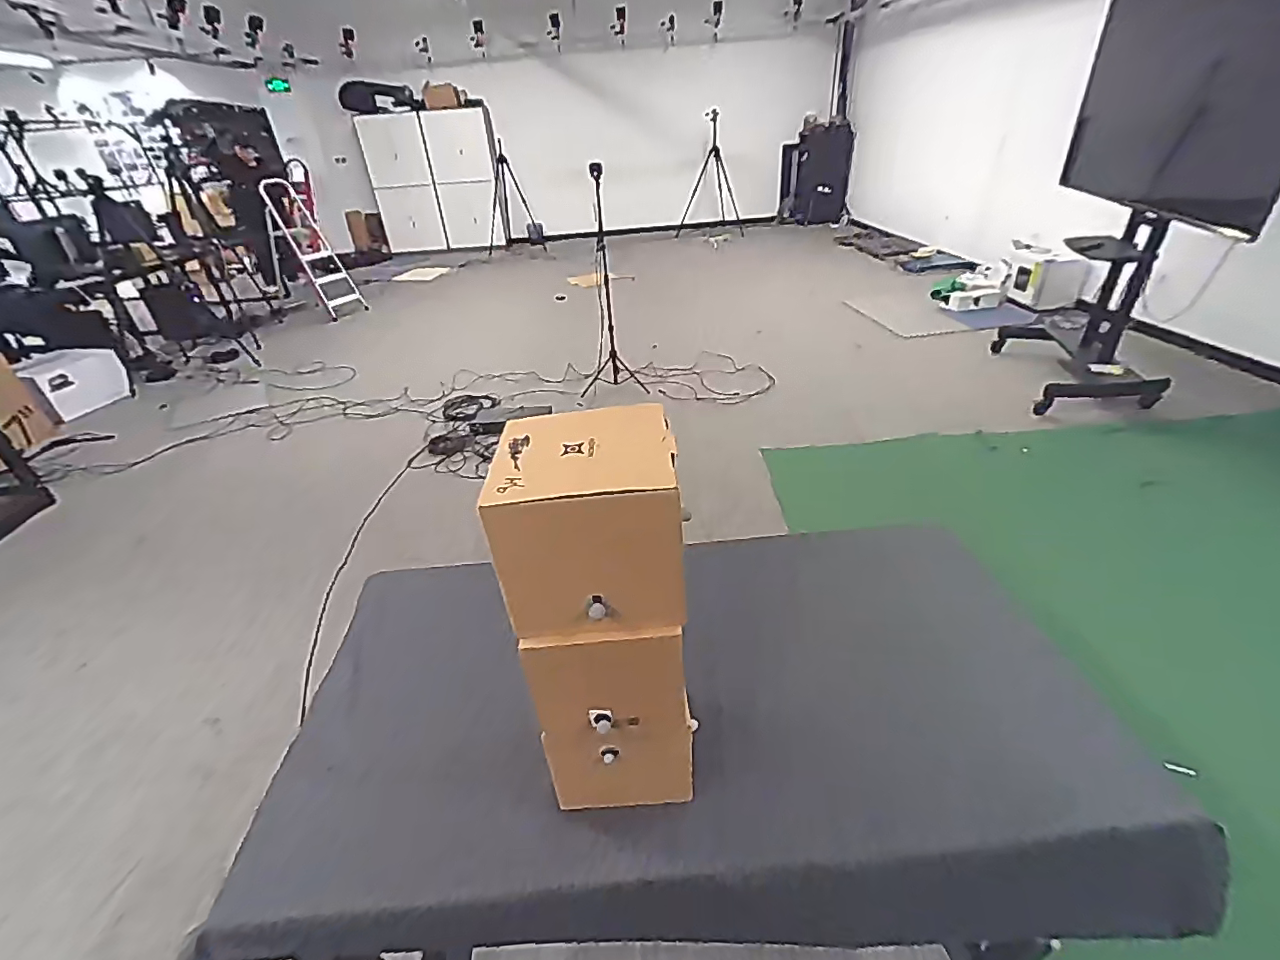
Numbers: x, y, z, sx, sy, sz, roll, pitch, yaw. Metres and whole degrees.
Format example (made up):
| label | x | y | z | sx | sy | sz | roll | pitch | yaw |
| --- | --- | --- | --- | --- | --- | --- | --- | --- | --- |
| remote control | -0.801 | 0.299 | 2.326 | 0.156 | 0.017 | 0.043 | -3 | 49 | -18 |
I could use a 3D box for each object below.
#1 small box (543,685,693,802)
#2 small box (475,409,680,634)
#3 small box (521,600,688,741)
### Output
| label | x | y | z | sx | sy | sz | roll | pitch | yaw |
| --- | --- | --- | --- | --- | --- | --- | --- | --- | --- |
| small box | -0.023 | 0.316 | 0.740 | 0.179 | 0.176 | 0.168 | -3 | 33 | 1 |
| small box | -0.050 | 0.042 | 0.567 | 0.179 | 0.176 | 0.168 | -5 | 32 | 2 |
| small box | -0.035 | 0.181 | 0.651 | 0.168 | 0.176 | 0.179 | -6 | 34 | 1 |
